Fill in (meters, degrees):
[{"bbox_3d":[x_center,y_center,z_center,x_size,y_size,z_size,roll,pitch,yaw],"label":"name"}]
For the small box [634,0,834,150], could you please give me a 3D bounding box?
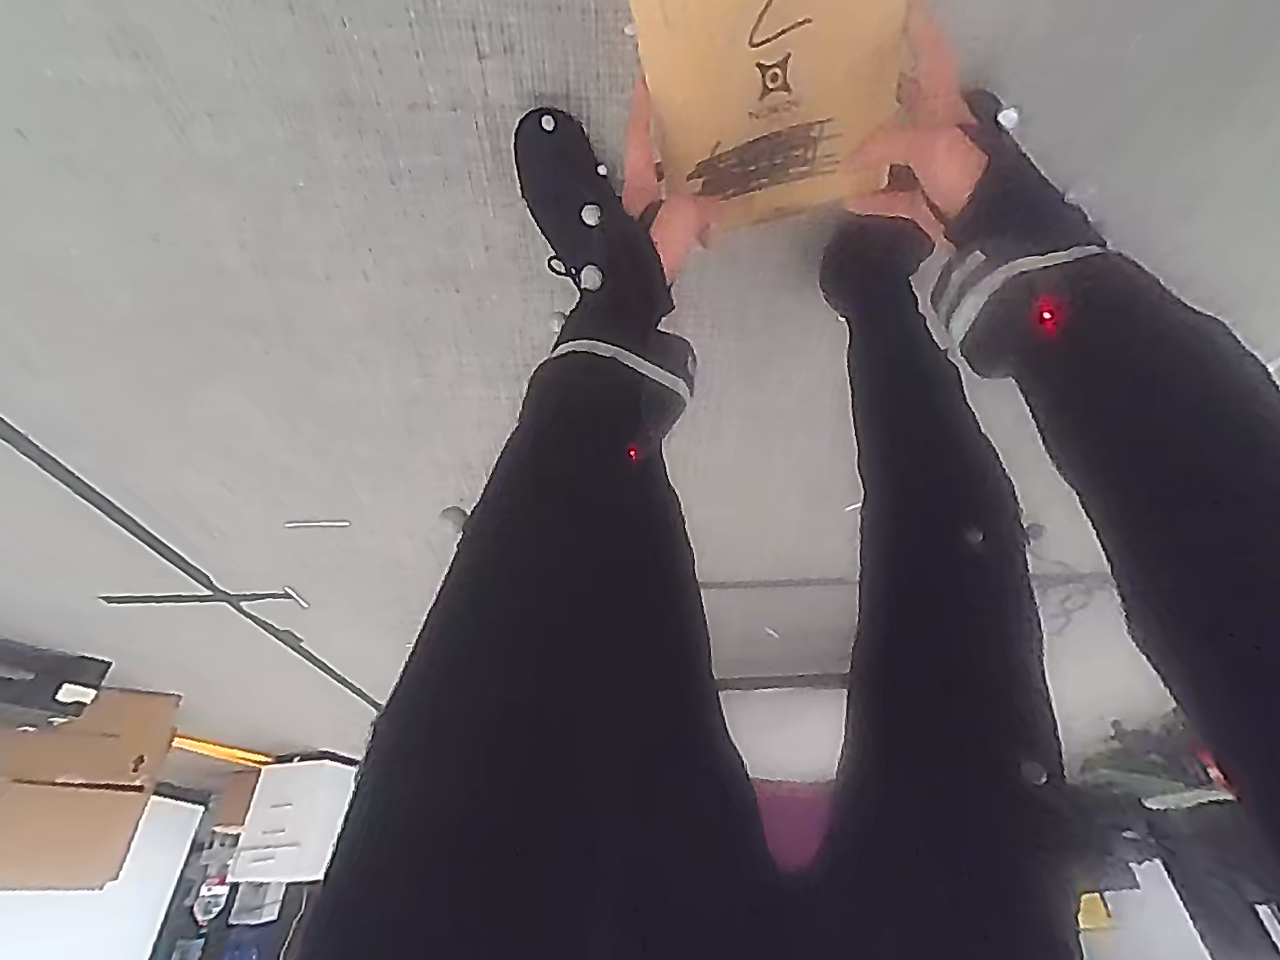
[{"bbox_3d":[0.080,-0.458,0.515,0.168,0.176,0.179,-10,143,8],"label":"small box"}]
